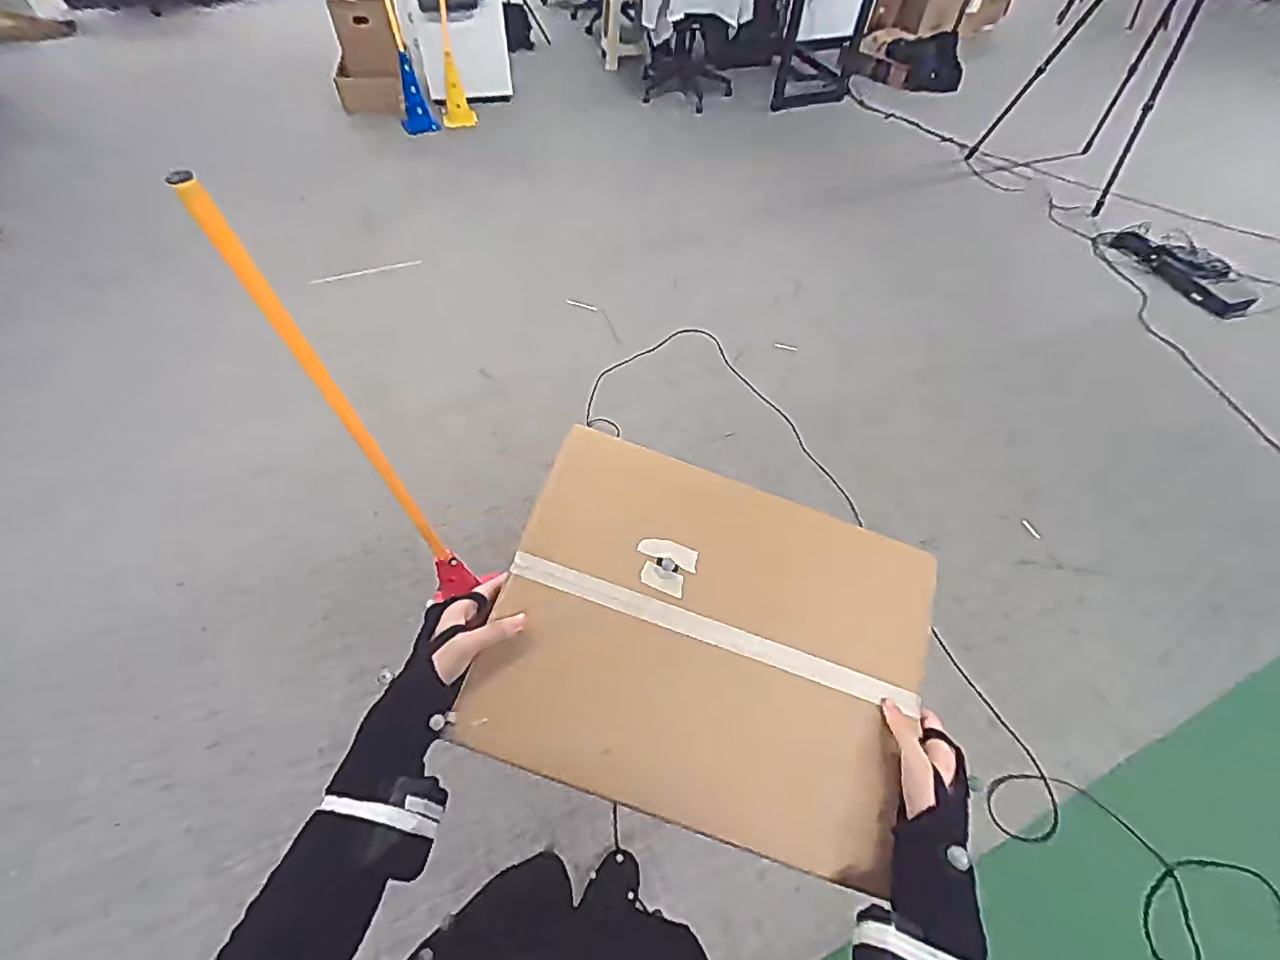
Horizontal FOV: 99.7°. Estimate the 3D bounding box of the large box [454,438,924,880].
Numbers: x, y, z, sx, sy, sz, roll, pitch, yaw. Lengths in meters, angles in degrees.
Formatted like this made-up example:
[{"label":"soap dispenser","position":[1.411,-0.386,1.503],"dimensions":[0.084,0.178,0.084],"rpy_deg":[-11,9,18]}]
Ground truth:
[{"label":"large box","position":[0.055,0.202,0.662],"dimensions":[0.408,0.320,0.320],"rpy_deg":[20,68,1]}]
